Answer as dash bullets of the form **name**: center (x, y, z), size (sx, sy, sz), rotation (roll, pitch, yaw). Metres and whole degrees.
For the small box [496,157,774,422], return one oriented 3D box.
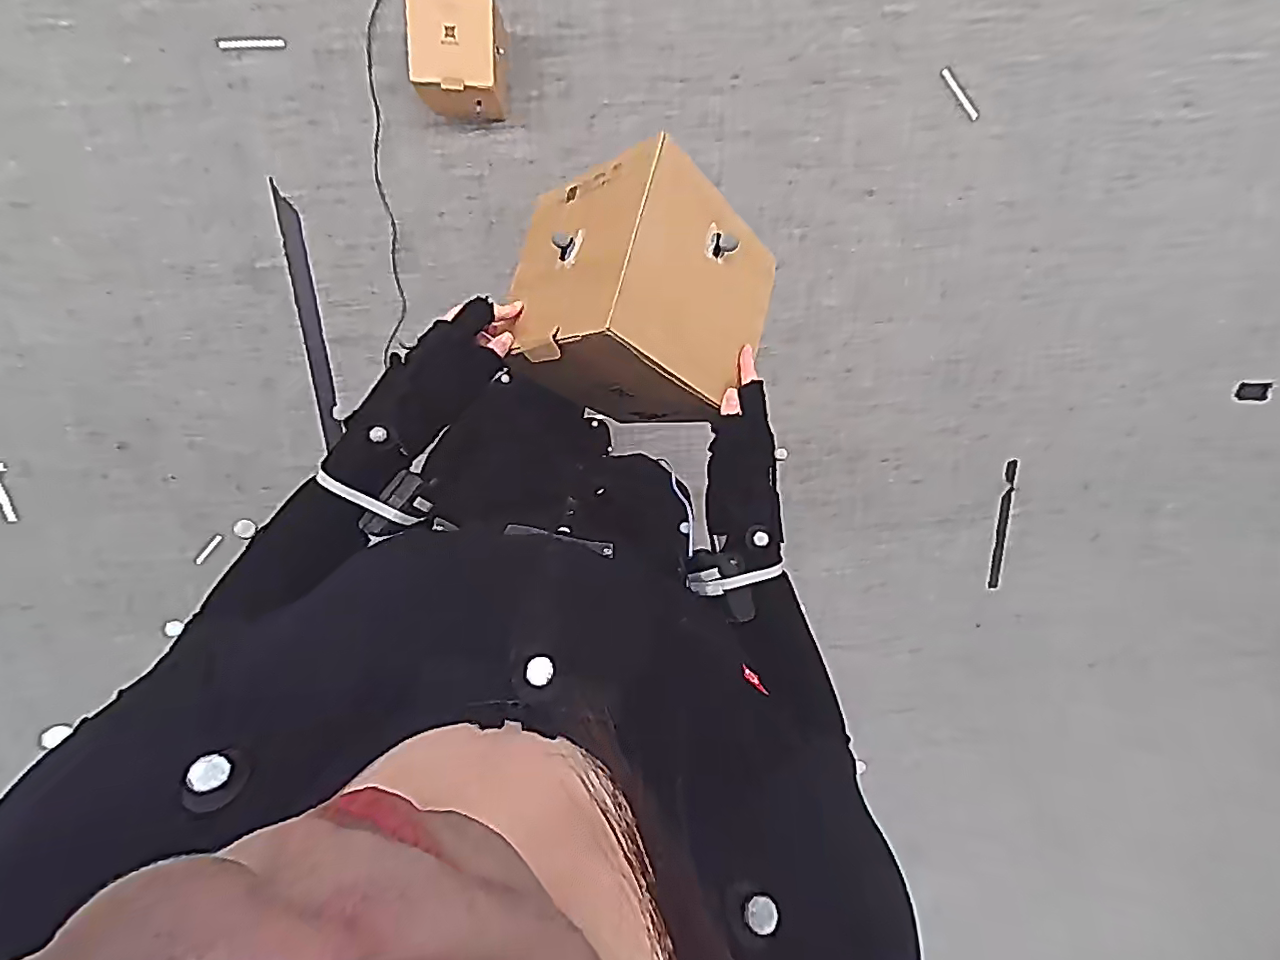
- **small box**: center (0.001, -0.165, 0.506), size (0.179, 0.168, 0.176), rotation (24, 78, -44)

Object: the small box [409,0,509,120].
- **small box**: center (-0.371, -0.885, 1.134), size (0.168, 0.176, 0.179), rotation (2, 105, -5)
